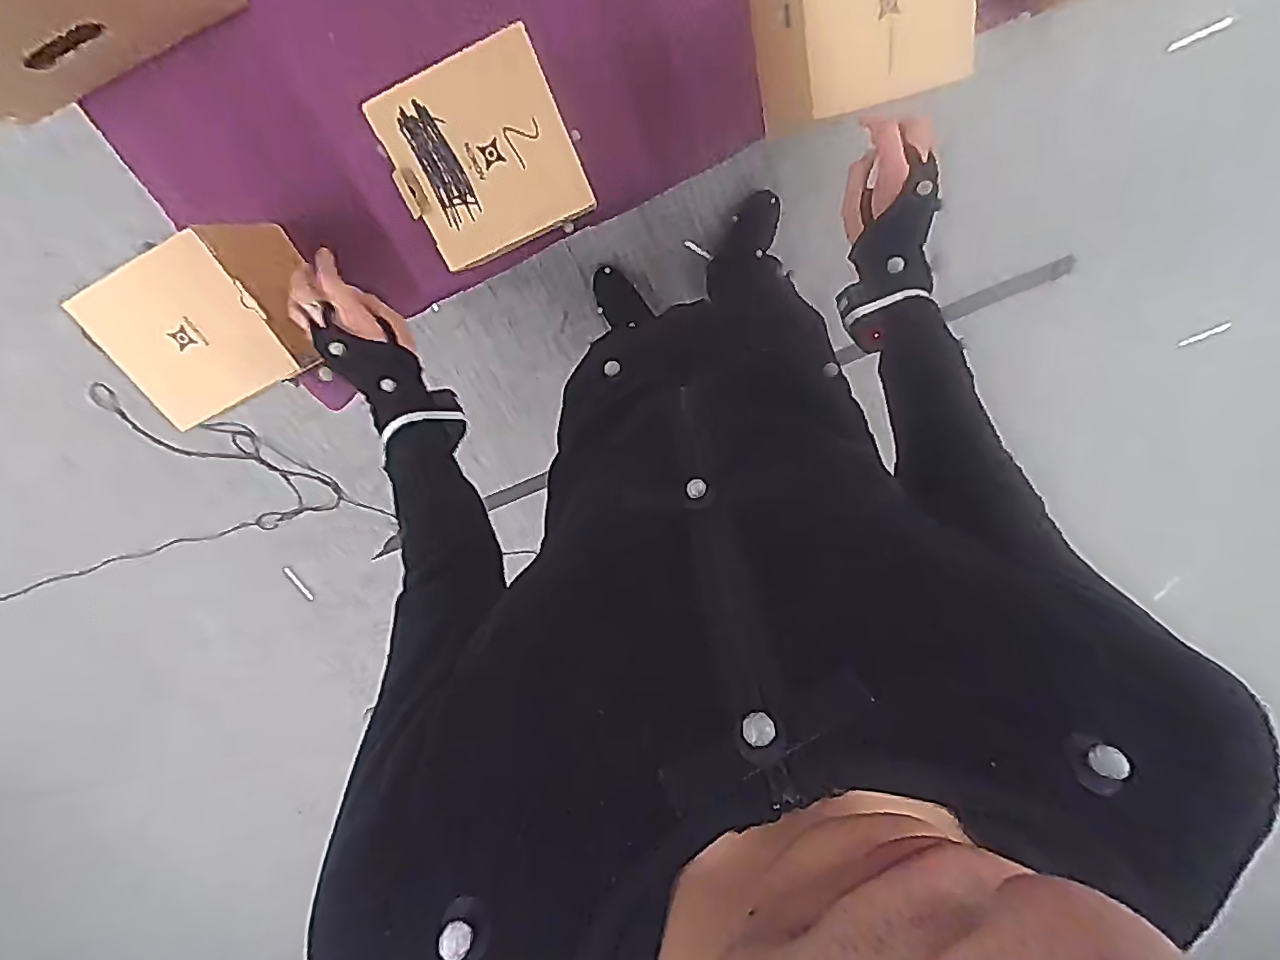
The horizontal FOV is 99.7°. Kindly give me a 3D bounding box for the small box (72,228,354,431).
[{"bbox_3d":[-0.500,-0.189,0.667,0.179,0.176,0.168,-26,115,6],"label":"small box"}]

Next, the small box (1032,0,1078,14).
[{"bbox_3d":[0.524,-0.624,0.540,0.168,0.176,0.179,-18,115,5],"label":"small box"}]
